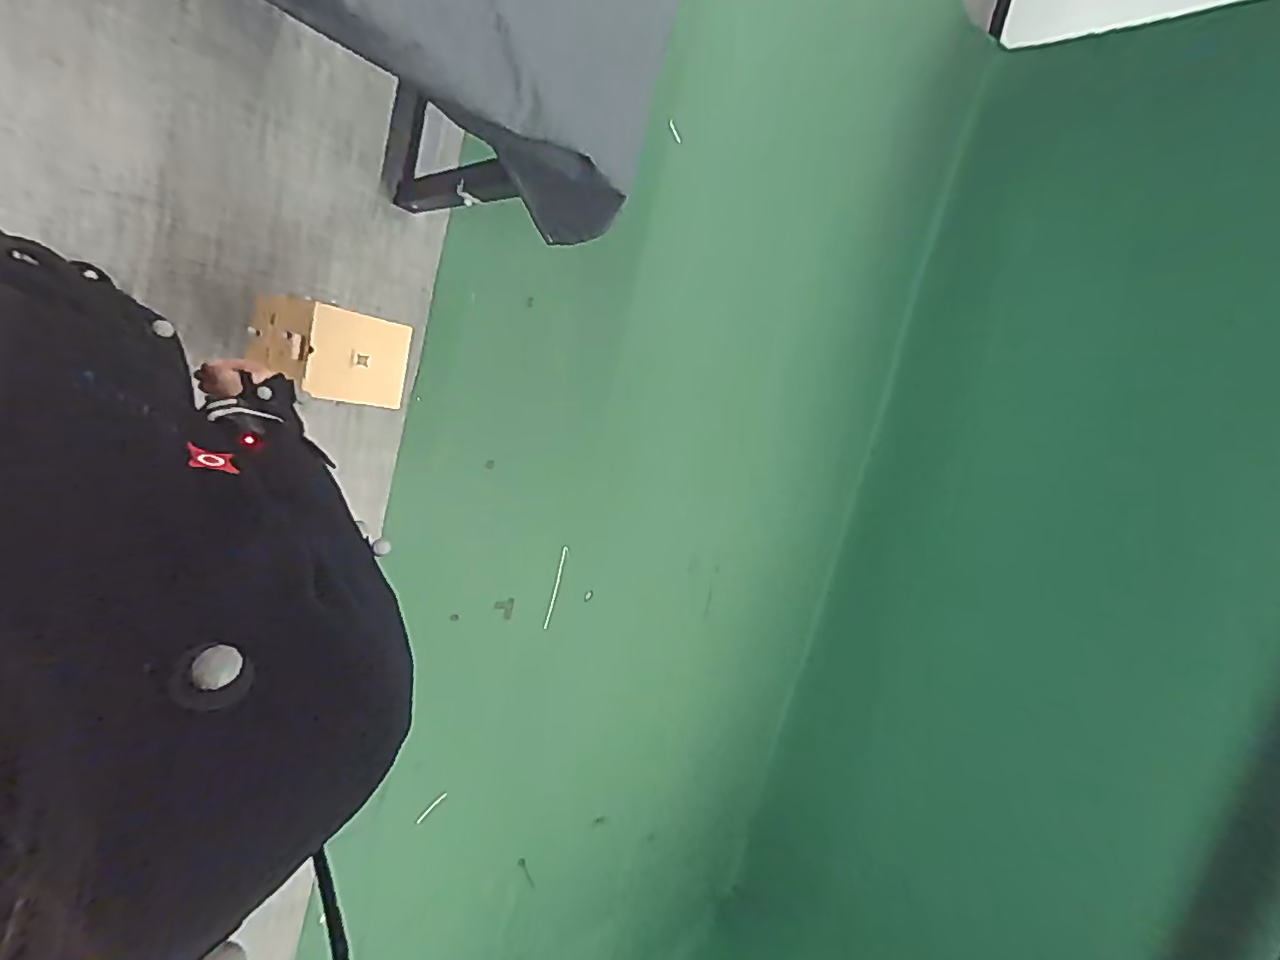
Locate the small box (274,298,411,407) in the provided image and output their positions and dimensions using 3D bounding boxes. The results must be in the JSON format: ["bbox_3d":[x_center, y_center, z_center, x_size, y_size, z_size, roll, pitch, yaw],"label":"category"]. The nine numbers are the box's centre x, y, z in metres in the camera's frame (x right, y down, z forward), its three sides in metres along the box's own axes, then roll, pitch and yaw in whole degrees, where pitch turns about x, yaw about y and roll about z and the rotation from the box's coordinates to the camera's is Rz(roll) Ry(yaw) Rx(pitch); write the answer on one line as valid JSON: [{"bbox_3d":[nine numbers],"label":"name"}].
[{"bbox_3d":[-0.573,-0.247,1.042,0.179,0.176,0.168,3,103,-48],"label":"small box"}]

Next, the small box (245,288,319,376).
[{"bbox_3d":[-0.703,-0.293,1.135,0.179,0.176,0.168,5,100,-48],"label":"small box"}]
